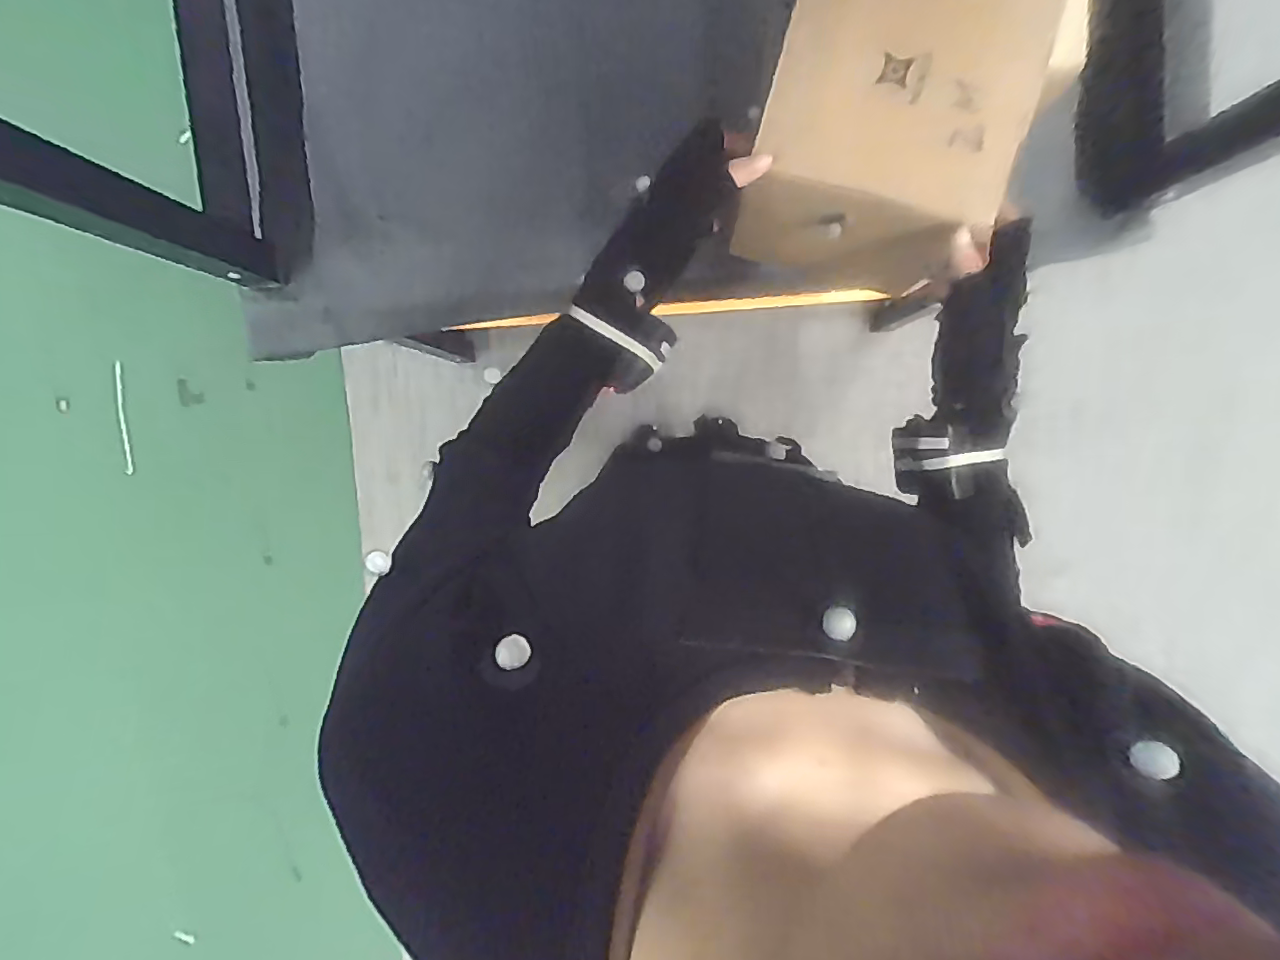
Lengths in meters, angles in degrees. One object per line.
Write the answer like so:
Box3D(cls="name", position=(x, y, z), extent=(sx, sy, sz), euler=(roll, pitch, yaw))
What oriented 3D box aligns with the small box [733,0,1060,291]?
Box3D(cls="small box", position=(0.184, -0.276, 0.452), extent=(0.179, 0.176, 0.168), euler=(16, 94, 4))
